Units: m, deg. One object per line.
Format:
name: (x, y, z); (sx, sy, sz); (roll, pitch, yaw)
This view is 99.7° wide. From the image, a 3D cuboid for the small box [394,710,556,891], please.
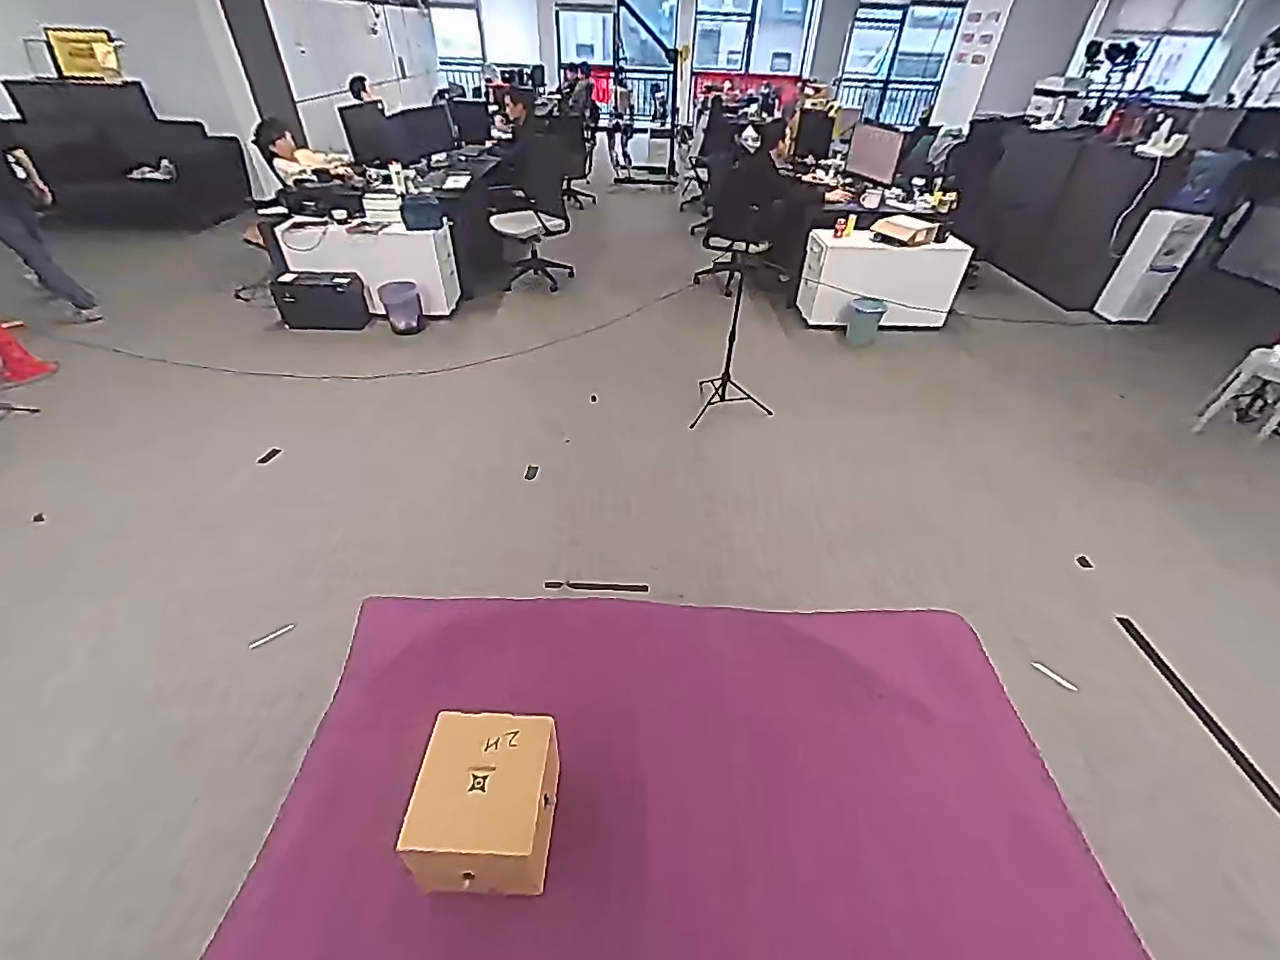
small box: (-0.214, 0.452, 0.761); (0.168, 0.176, 0.179); (3, 40, 0)
